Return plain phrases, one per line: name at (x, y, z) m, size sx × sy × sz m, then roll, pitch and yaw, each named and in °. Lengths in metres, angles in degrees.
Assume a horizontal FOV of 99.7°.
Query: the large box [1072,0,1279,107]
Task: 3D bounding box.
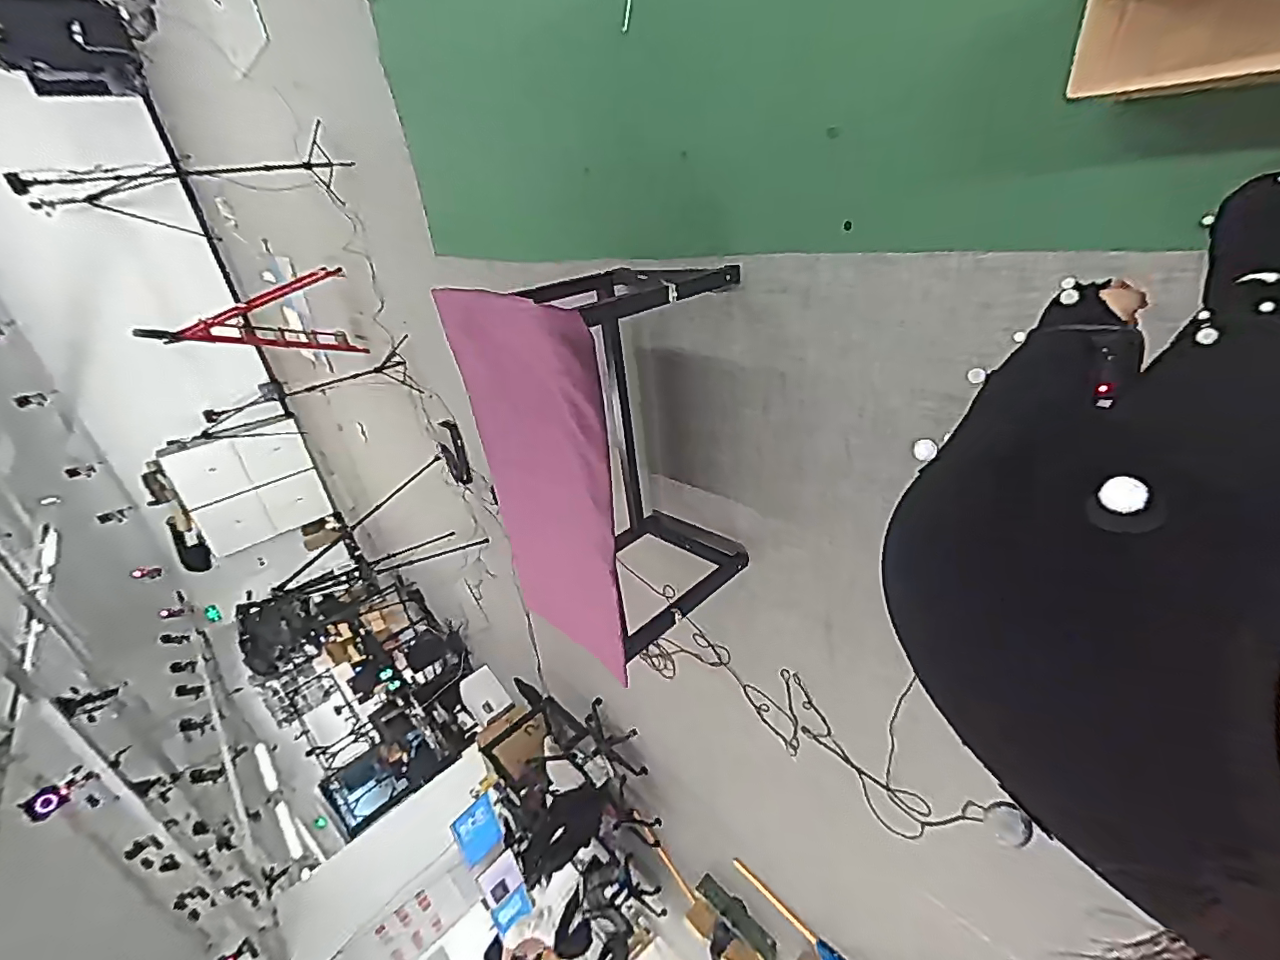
large box at (0.883, -0.711, 0.710) m, size 0.408 × 0.320 × 0.320 m, roll 22°, pitch 130°, yaw 41°
